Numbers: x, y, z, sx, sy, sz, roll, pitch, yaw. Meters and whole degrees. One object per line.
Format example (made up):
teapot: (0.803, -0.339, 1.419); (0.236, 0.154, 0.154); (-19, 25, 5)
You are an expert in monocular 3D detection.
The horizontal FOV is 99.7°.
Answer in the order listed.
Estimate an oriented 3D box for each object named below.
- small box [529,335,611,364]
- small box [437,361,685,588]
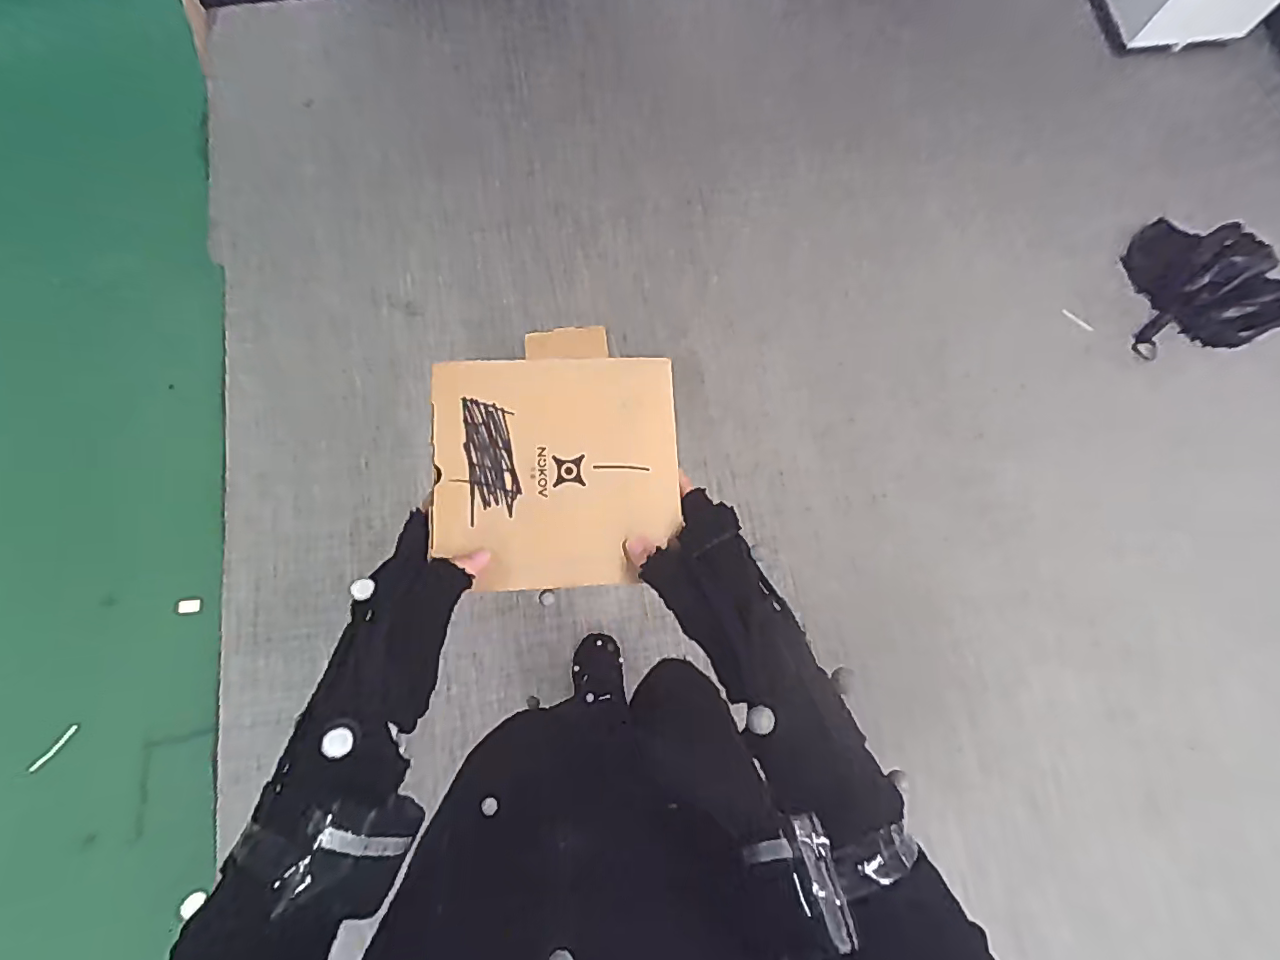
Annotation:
small box: (-0.138, -0.188, 1.167); (0.168, 0.176, 0.179); (-8, 77, -2)
small box: (-0.064, 0.007, 0.471); (0.179, 0.176, 0.168); (-2, 80, -6)
